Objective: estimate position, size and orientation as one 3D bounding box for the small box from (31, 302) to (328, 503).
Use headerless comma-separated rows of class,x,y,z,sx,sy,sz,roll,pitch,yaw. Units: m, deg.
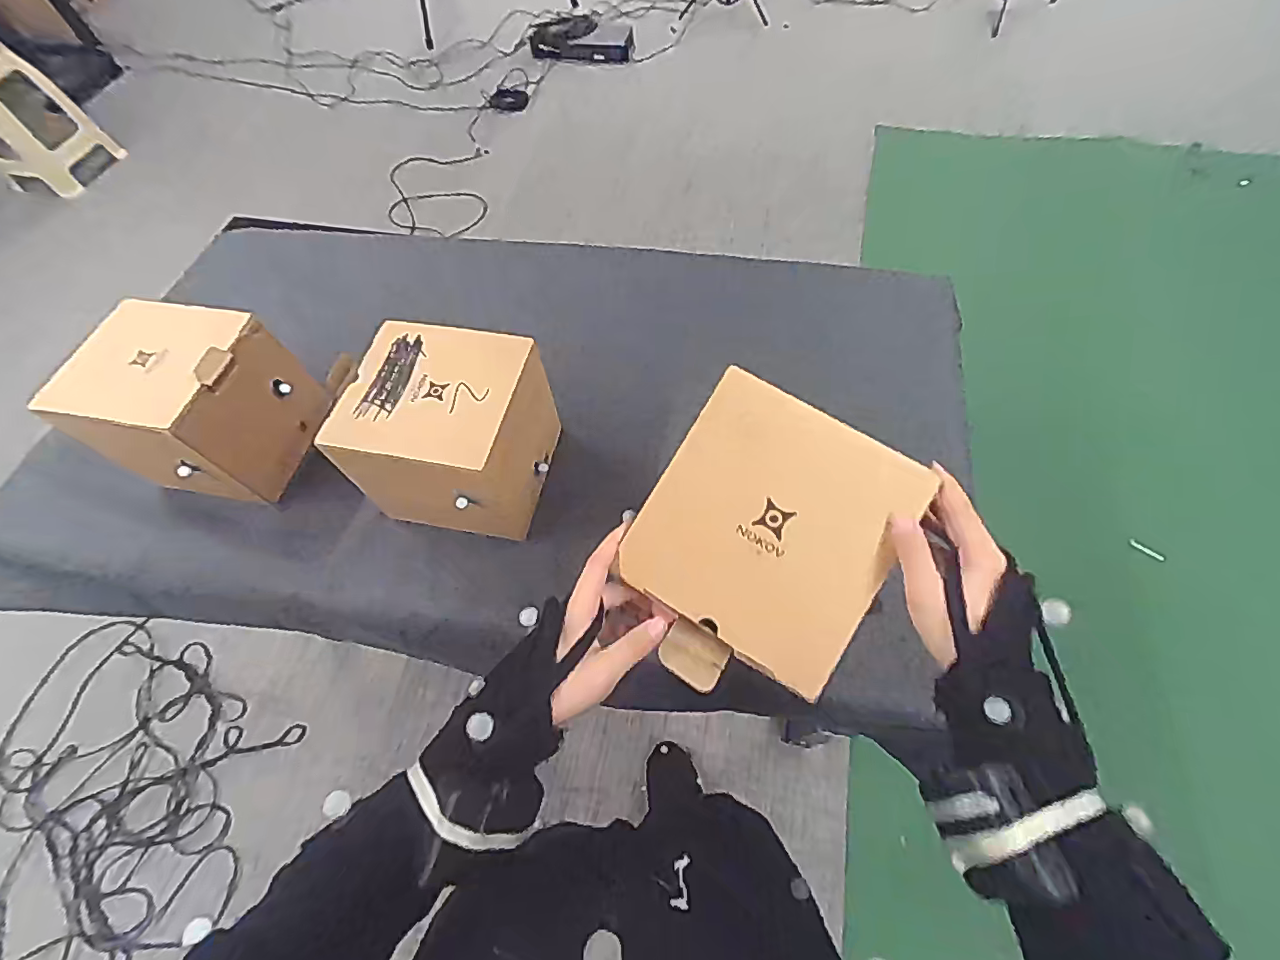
small box,-0.525,-0.086,0.652,0.179,0.176,0.168,7,60,8
